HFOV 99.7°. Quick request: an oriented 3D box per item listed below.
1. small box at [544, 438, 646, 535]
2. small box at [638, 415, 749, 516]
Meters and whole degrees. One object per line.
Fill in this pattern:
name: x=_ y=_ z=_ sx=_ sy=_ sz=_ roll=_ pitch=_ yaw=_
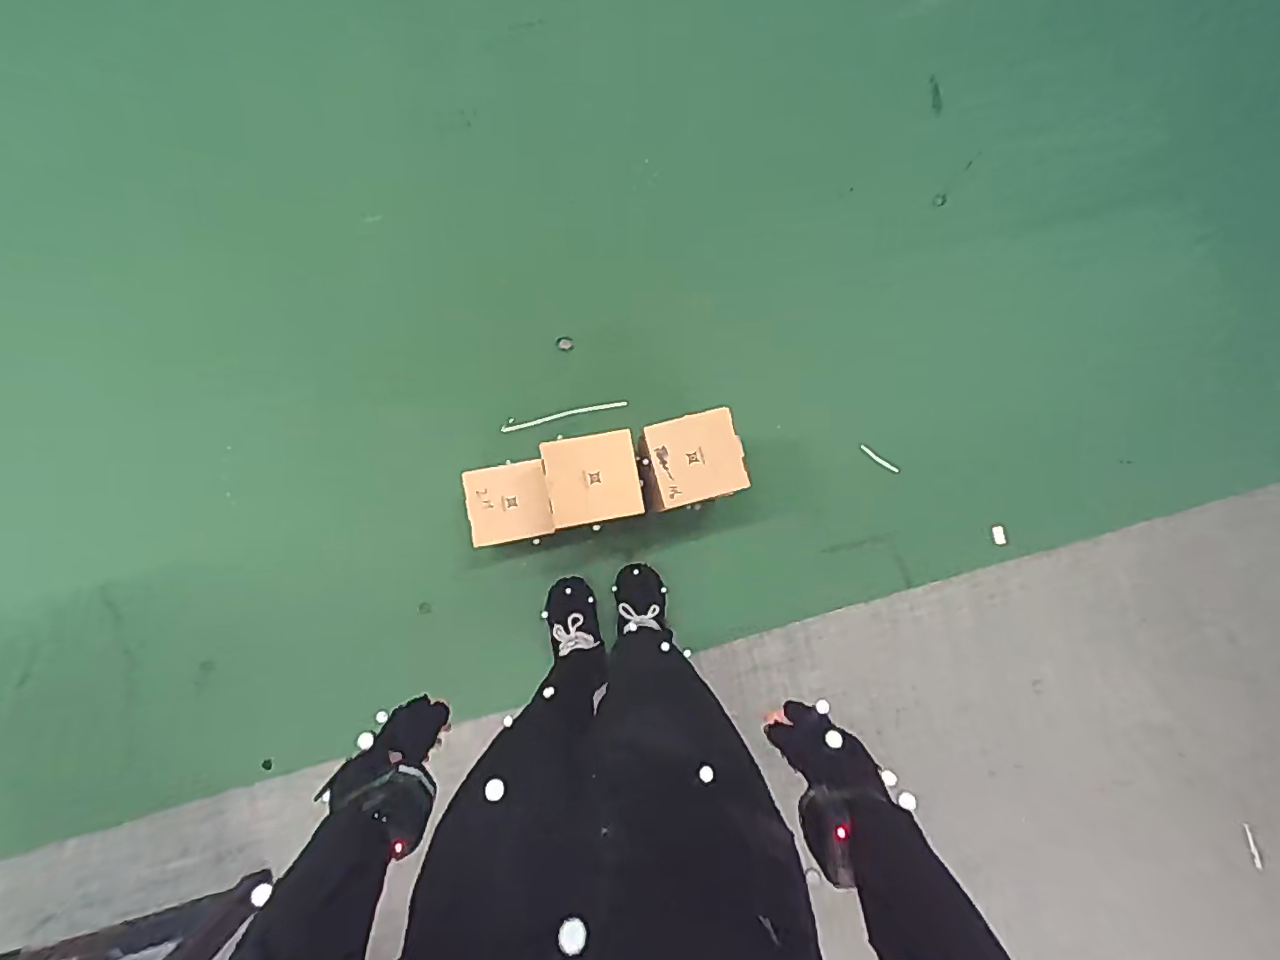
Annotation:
small box: x=-0.092 y=0.015 z=1.101 sx=0.179 sy=0.176 sz=0.168 roll=-9 pitch=86 yaw=-5
small box: x=0.103 y=-0.024 z=1.121 sx=0.179 sy=0.176 sz=0.168 roll=-14 pitch=86 yaw=-6
